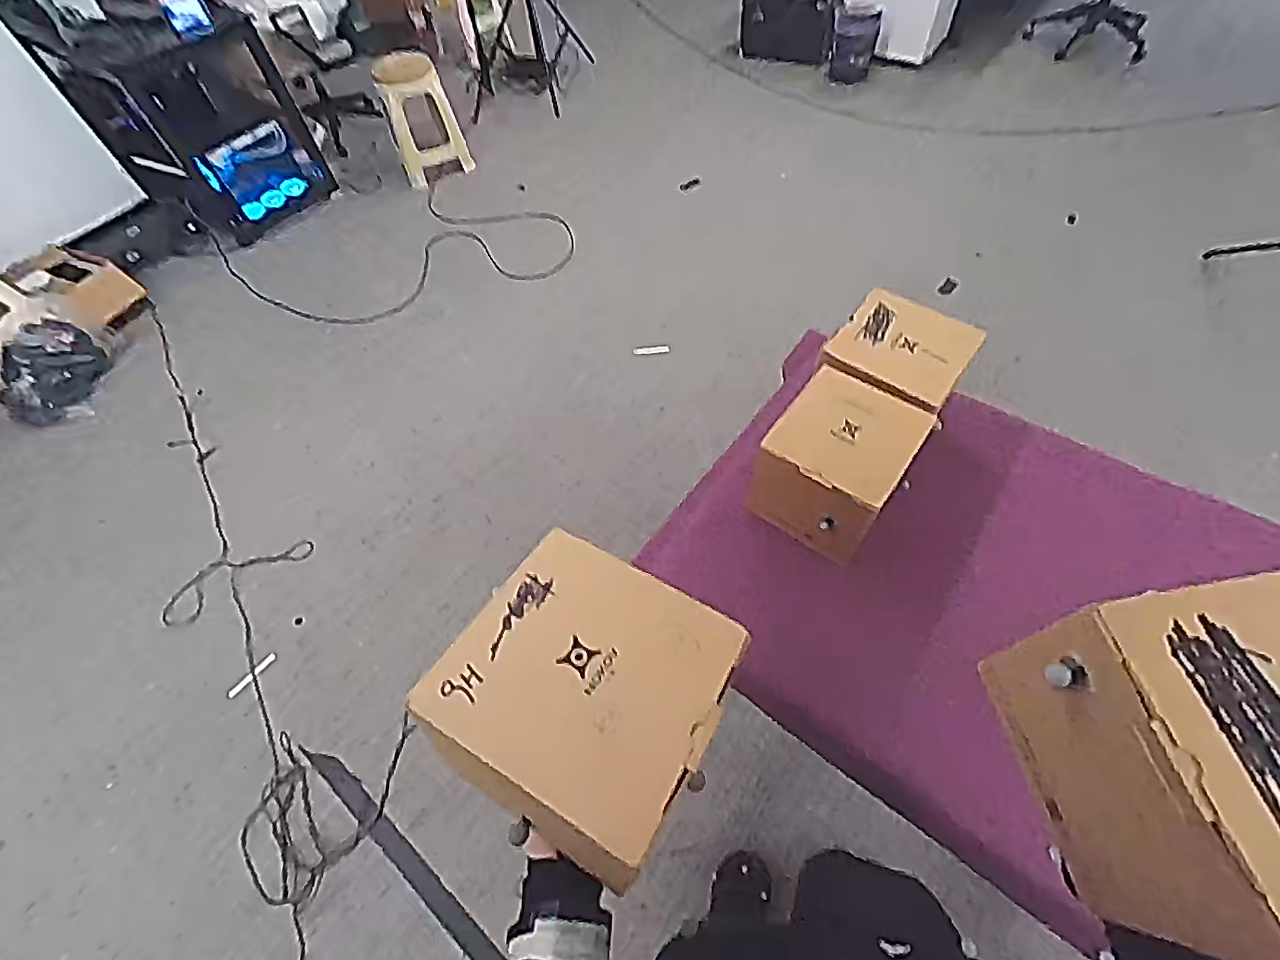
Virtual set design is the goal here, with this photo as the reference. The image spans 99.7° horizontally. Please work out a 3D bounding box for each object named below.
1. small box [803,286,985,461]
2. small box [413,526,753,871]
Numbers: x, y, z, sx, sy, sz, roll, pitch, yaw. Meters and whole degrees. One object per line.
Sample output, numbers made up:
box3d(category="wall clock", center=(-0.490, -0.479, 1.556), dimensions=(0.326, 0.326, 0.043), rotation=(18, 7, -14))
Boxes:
box3d(category="small box", center=(0.378, -0.159, 0.838), dimensions=(0.179, 0.176, 0.168), rotation=(34, 68, 21))
box3d(category="small box", center=(-0.039, 0.175, 0.428), dimensions=(0.179, 0.176, 0.168), rotation=(26, 51, 15))
